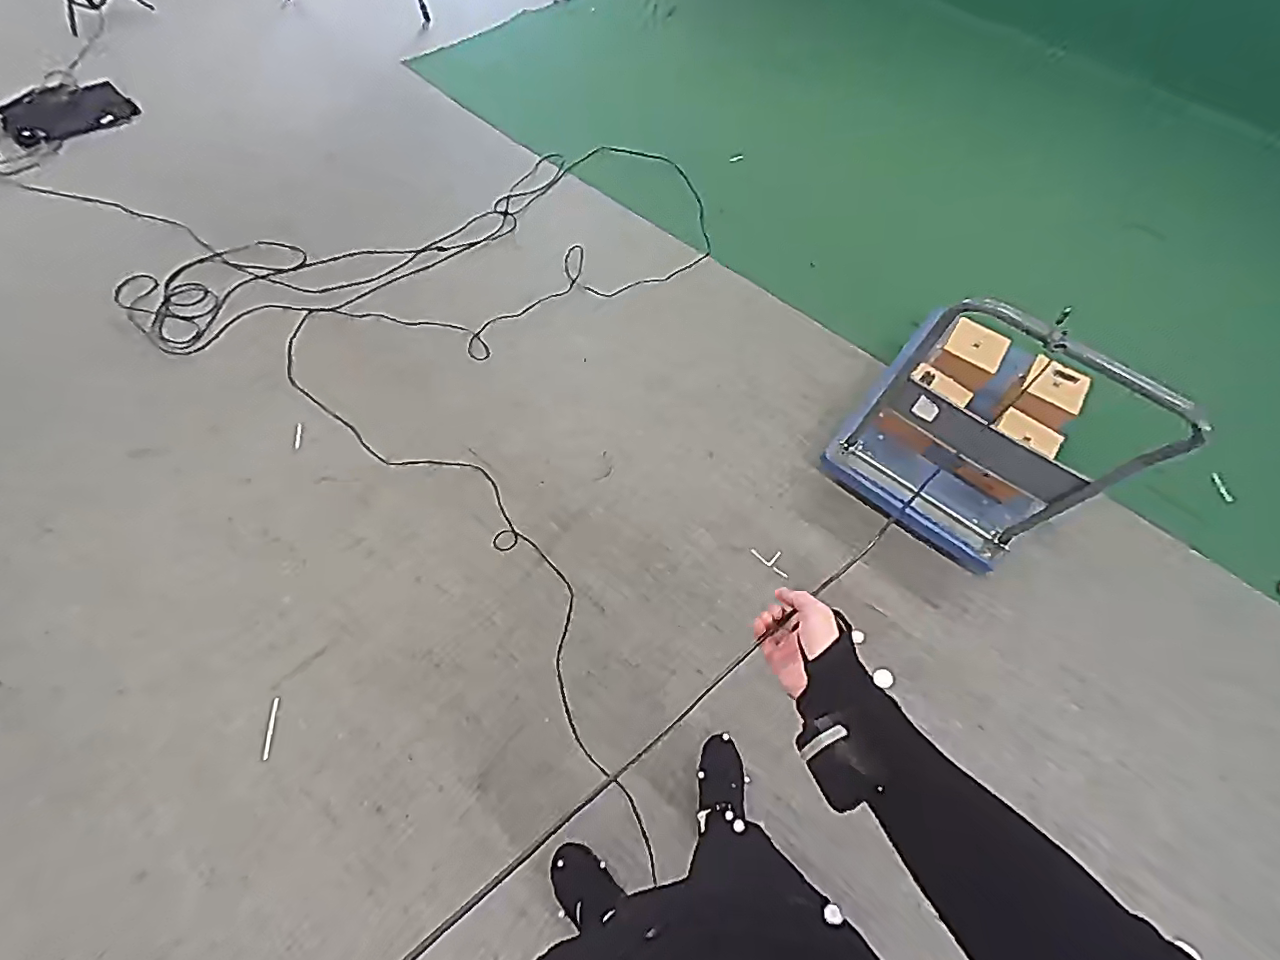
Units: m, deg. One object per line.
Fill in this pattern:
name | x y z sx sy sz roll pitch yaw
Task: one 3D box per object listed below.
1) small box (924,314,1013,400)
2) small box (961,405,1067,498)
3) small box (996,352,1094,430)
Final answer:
small box | 1.057 -0.393 1.755 0.168 0.176 0.179 34 65 13
small box | 1.089 -0.080 1.588 0.168 0.176 0.179 38 67 16
small box | 1.261 -0.259 1.695 0.168 0.176 0.179 33 66 14
